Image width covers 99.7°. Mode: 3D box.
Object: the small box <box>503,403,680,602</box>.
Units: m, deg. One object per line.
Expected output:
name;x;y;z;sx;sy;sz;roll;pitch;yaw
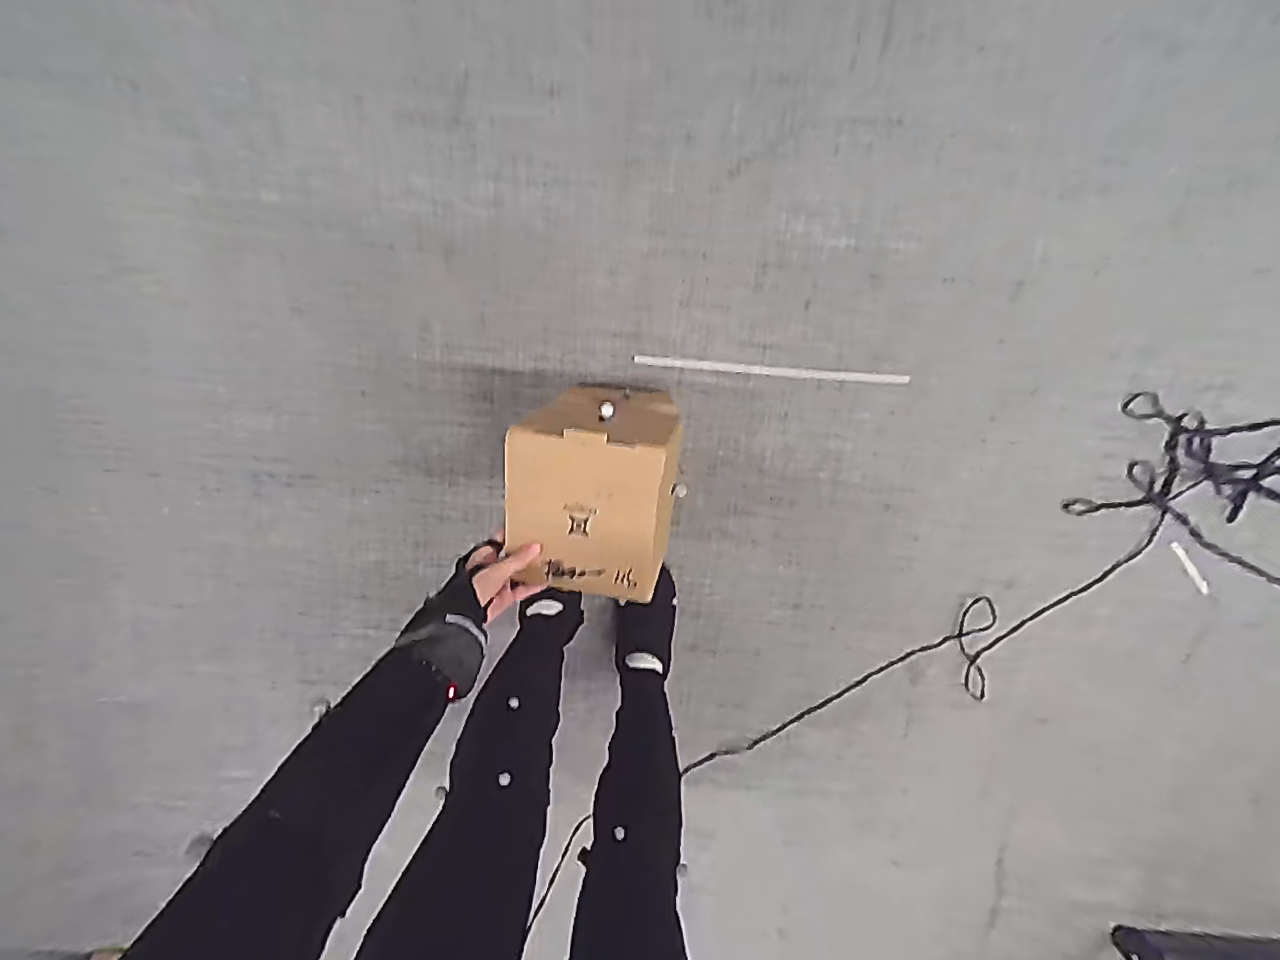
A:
small box;-0.048;0.013;0.626;0.168;0.176;0.179;8;109;8

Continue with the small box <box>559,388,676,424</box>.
small box;-0.040;-0.060;0.890;0.179;0.176;0.168;5;104;-1
